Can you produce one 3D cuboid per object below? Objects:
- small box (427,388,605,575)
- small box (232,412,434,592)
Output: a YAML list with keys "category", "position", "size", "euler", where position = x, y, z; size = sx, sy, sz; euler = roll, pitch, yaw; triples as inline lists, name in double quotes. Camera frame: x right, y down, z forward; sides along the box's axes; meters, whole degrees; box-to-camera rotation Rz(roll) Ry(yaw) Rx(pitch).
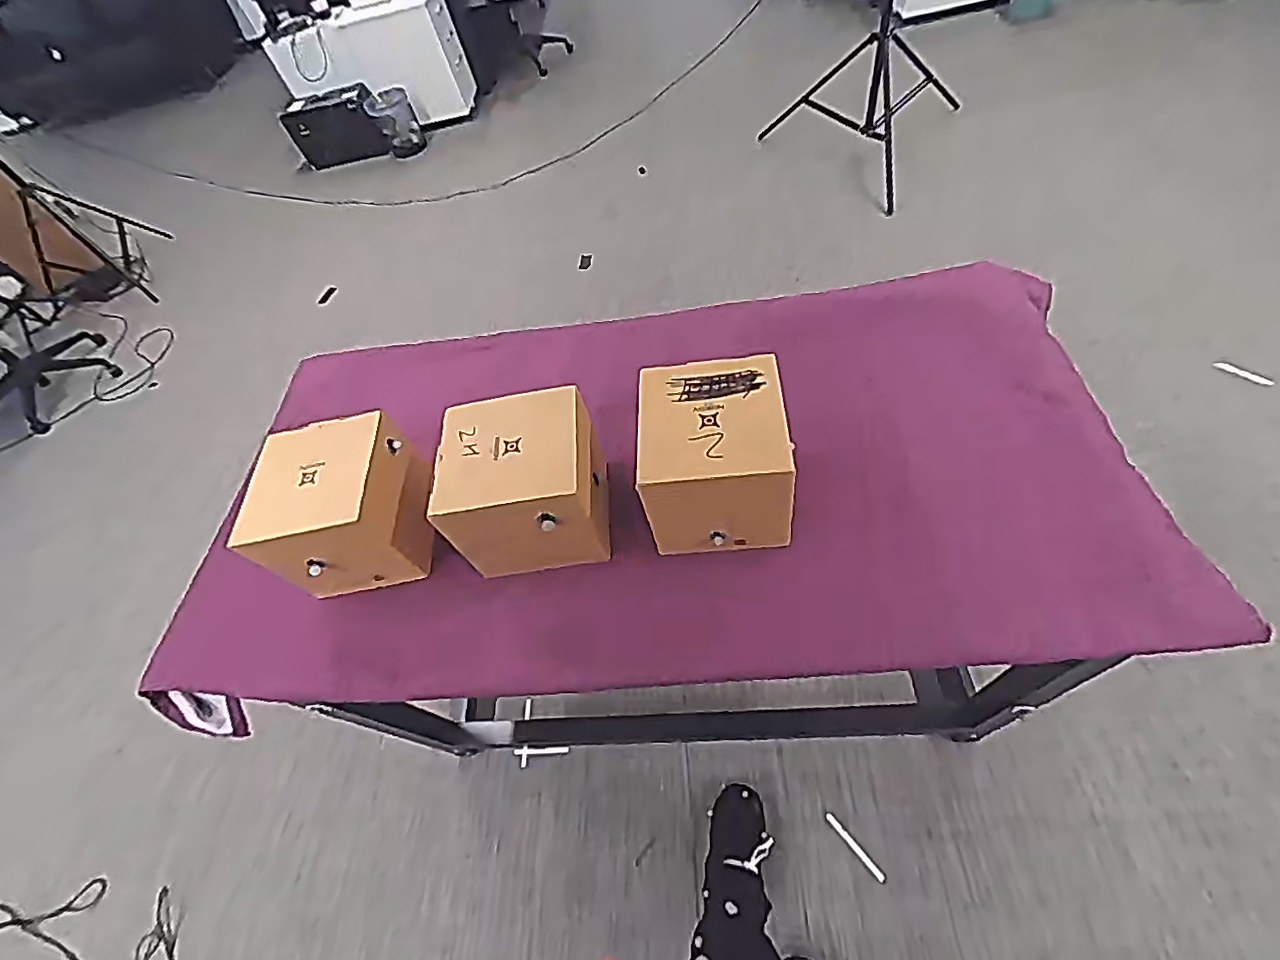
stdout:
- category: "small box"
  position: [-0.144, 0.008, 0.703]
  size: [0.179, 0.176, 0.168]
  euler: [-9, 54, 5]
- category: "small box"
  position: [-0.396, 0.040, 0.740]
  size: [0.168, 0.176, 0.179]
  euler: [-12, 54, 4]
